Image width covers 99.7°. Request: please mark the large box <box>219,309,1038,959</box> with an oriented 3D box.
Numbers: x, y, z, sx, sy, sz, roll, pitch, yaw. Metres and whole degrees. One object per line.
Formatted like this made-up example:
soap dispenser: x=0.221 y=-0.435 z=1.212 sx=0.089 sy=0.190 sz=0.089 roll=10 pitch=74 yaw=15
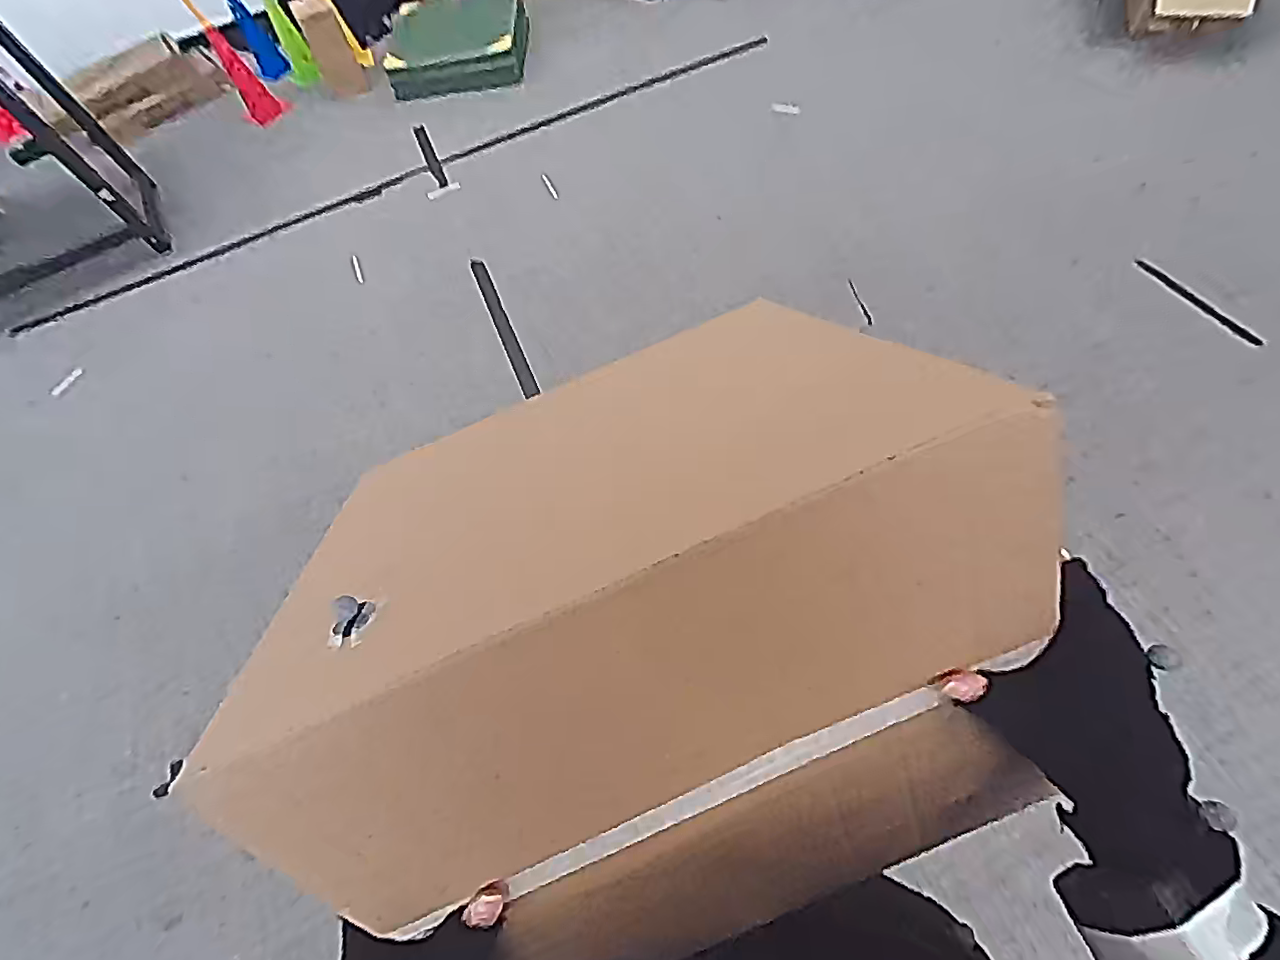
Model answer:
large box: x=0.013 y=0.101 z=0.441 sx=0.408 sy=0.320 sz=0.320 roll=-24 pitch=28 yaw=0
